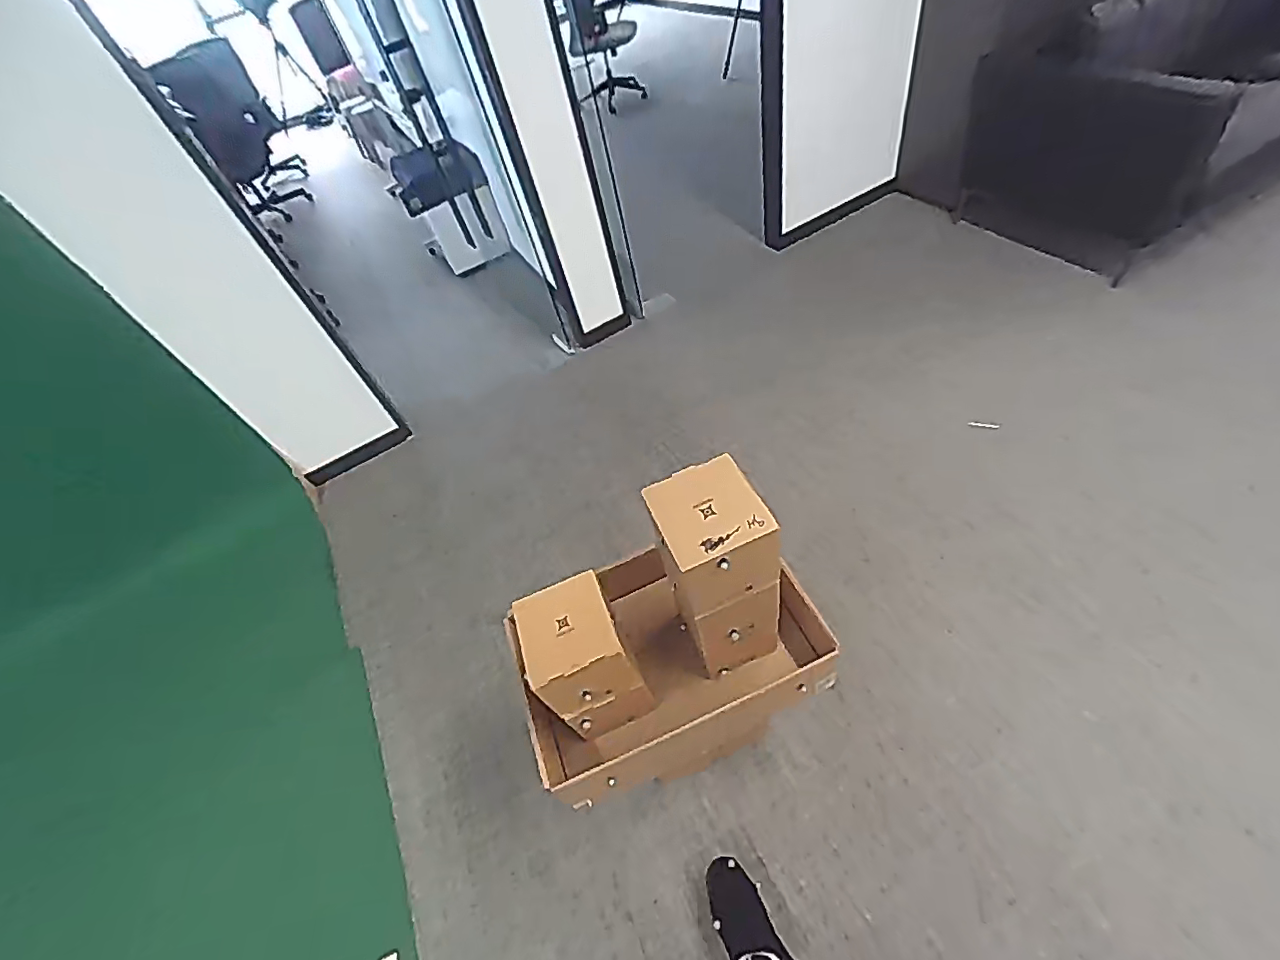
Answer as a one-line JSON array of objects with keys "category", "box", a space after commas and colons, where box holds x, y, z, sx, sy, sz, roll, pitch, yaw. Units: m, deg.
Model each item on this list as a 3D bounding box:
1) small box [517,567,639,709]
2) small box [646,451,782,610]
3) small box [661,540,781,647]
[{"category": "small box", "box": [-0.115, 0.301, 1.024, 0.168, 0.176, 0.179, -22, 51, -4]}, {"category": "small box", "box": [0.125, 0.088, 0.918, 0.168, 0.176, 0.179, -24, 50, -4]}, {"category": "small box", "box": [0.156, 0.189, 1.044, 0.168, 0.176, 0.179, -23, 51, -4]}]
